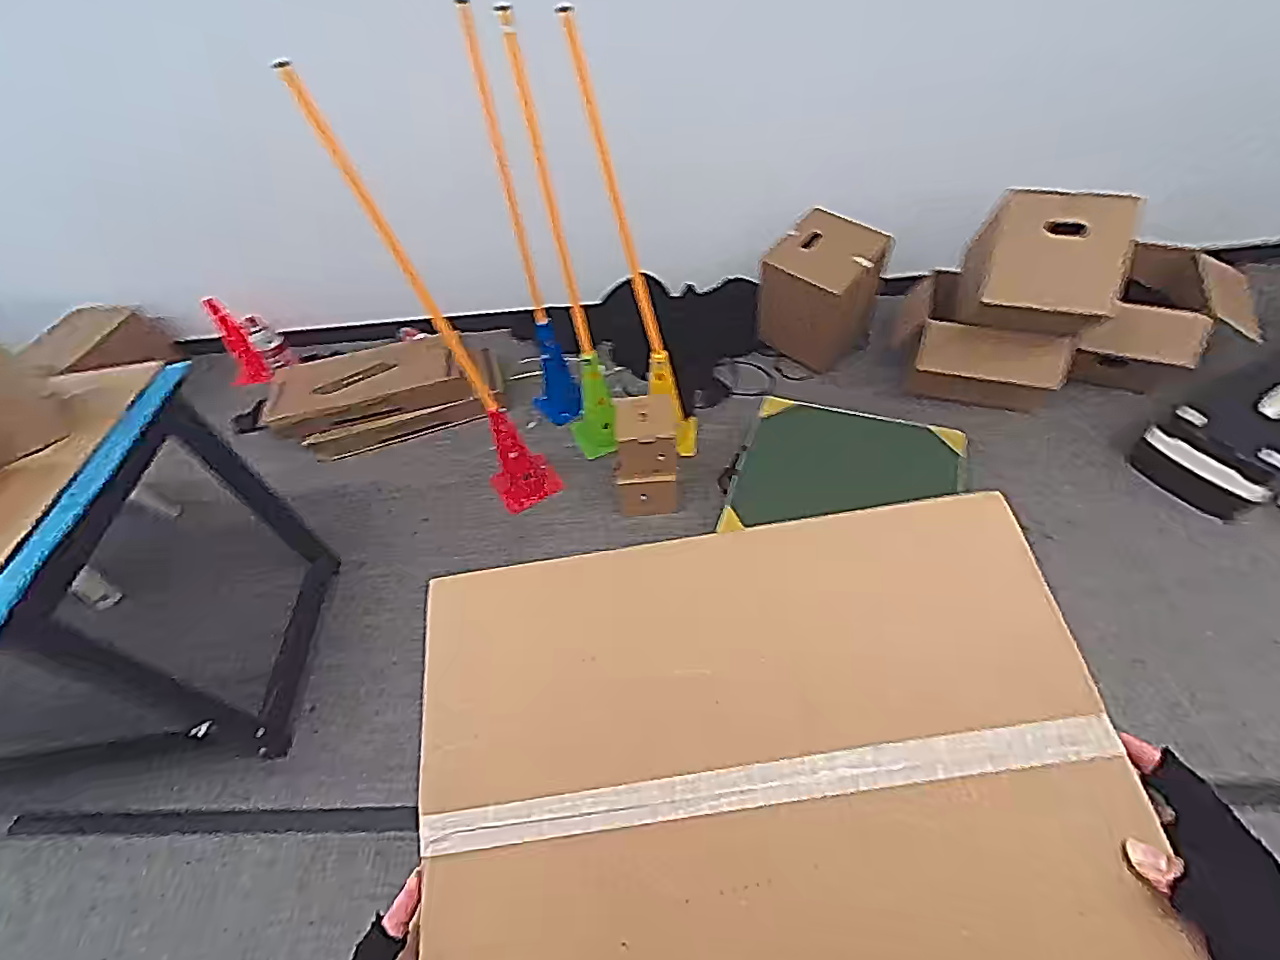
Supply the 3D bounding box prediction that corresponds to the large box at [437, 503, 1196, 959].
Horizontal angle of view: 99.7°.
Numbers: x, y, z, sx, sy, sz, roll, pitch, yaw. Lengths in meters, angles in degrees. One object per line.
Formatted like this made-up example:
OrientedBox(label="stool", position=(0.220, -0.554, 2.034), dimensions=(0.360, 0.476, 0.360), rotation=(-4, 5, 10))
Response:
OrientedBox(label="large box", position=(0.086, 0.250, 0.458), dimensions=(0.408, 0.320, 0.320), rotation=(-10, 65, 2))
